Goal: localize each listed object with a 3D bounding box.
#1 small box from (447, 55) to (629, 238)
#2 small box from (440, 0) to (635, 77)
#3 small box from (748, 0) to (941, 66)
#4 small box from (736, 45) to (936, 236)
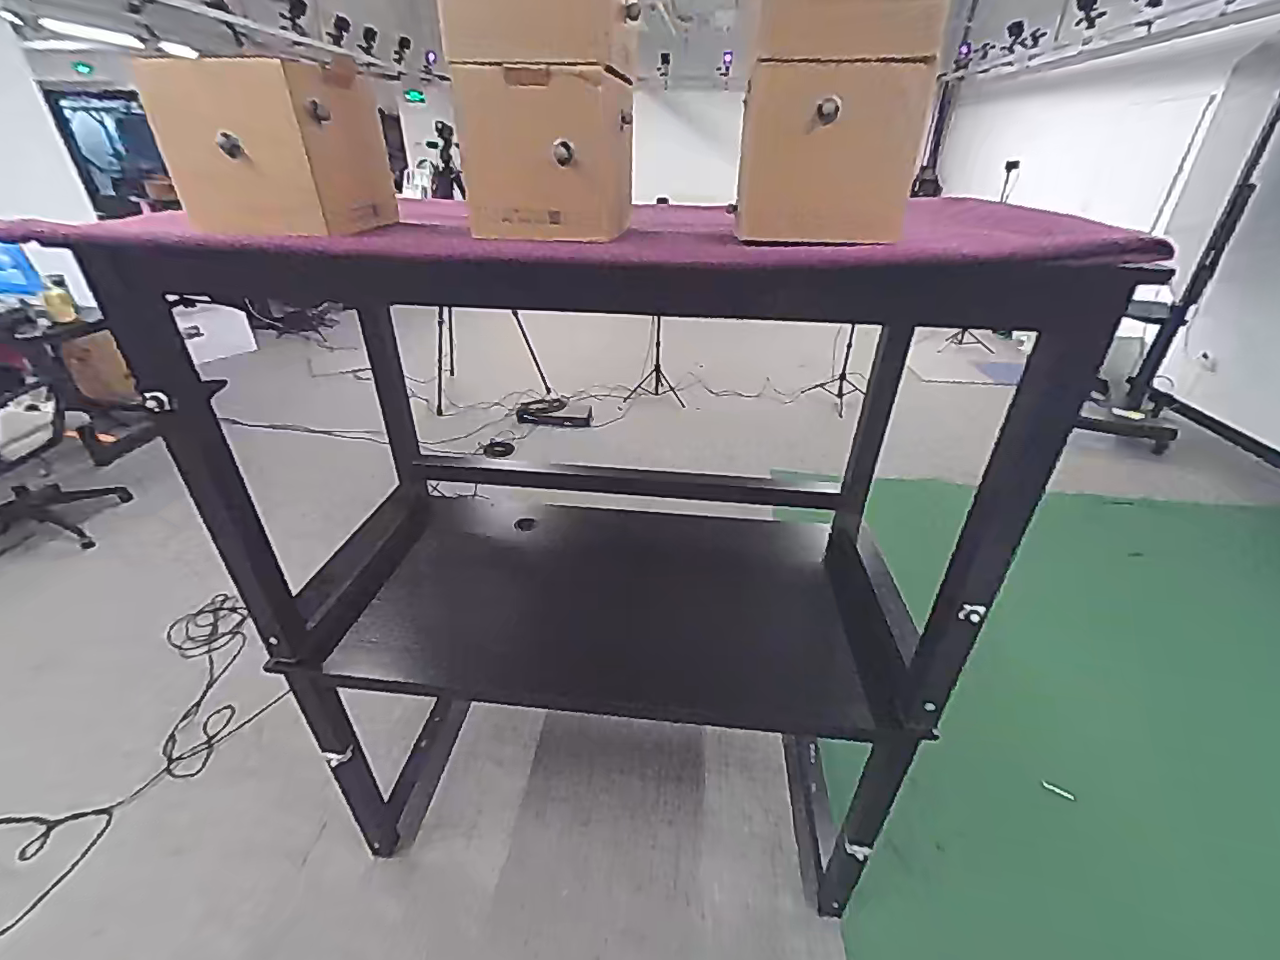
[{"bbox_3d":[-0.106,-0.391,0.649,0.168,0.176,0.179,6,30,6],"label":"small box"},{"bbox_3d":[-0.103,-0.533,0.565,0.179,0.176,0.168,6,32,6],"label":"small box"},{"bbox_3d":[0.207,-0.524,0.555,0.179,0.176,0.168,4,29,5],"label":"small box"},{"bbox_3d":[0.206,-0.379,0.629,0.179,0.176,0.168,3,28,4],"label":"small box"}]
